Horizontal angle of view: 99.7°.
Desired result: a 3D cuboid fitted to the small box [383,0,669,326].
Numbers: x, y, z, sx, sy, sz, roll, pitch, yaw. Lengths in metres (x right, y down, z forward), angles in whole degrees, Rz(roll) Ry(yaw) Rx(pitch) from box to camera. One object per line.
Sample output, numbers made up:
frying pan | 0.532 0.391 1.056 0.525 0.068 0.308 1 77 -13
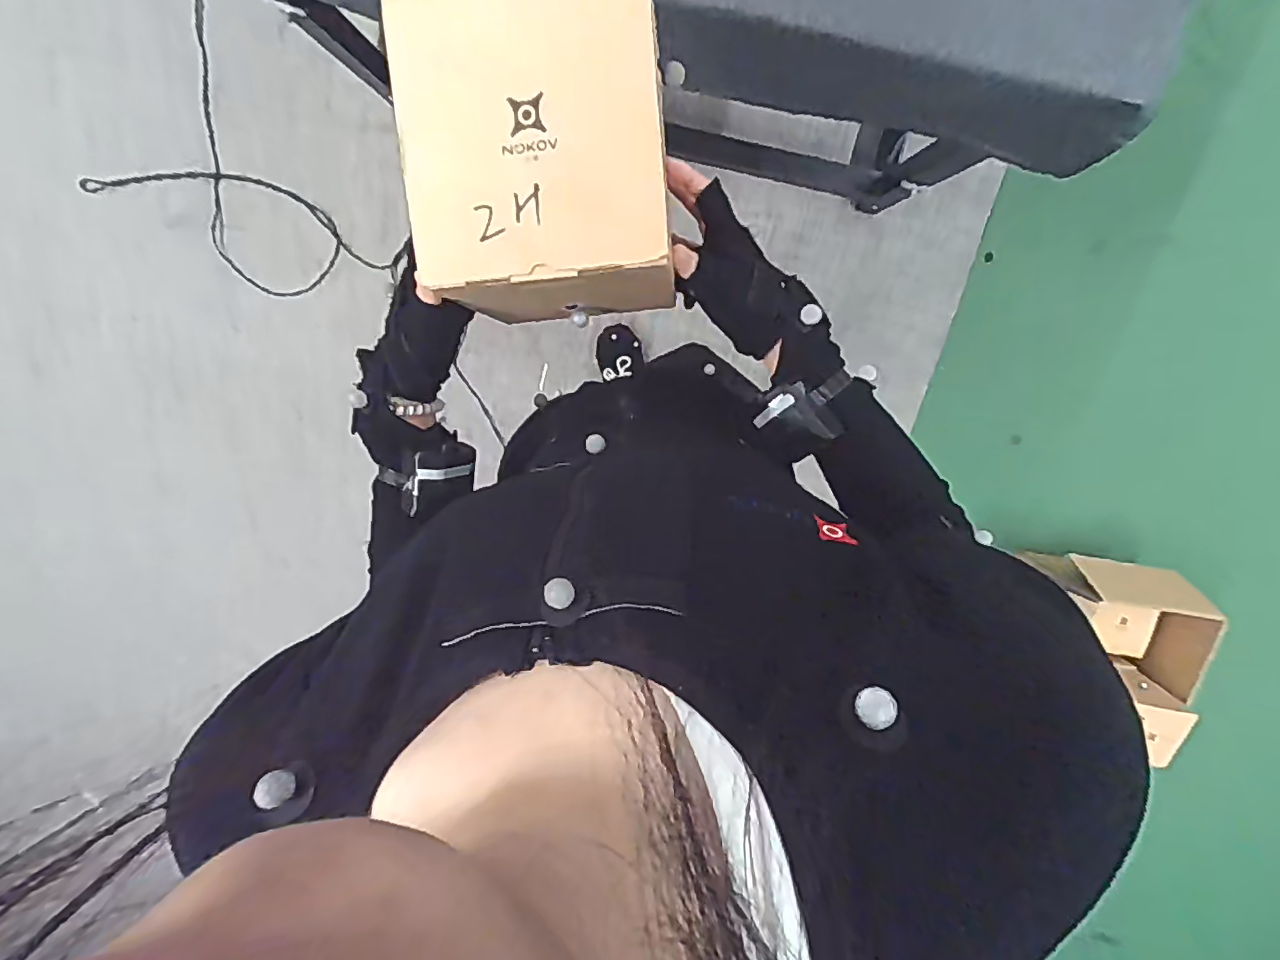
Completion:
small box | -0.065 -0.224 0.414 0.168 0.176 0.179 -3 99 6
